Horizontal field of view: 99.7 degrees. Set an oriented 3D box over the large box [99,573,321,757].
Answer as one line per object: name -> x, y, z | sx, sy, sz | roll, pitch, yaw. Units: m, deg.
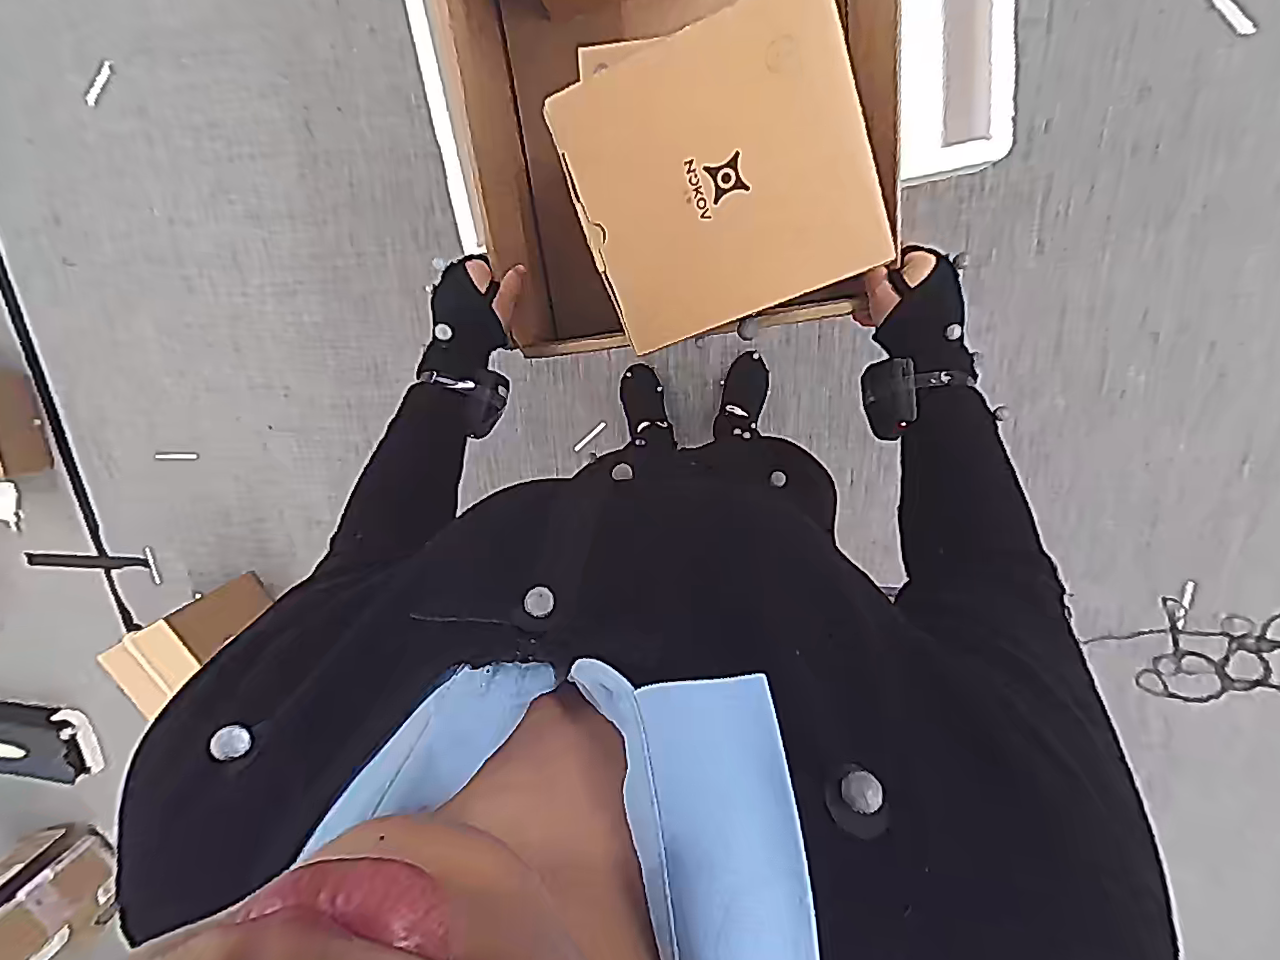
large box -> -1.345, 0.578, 1.728 | 0.320, 0.320, 0.408 | -27, 102, 16
